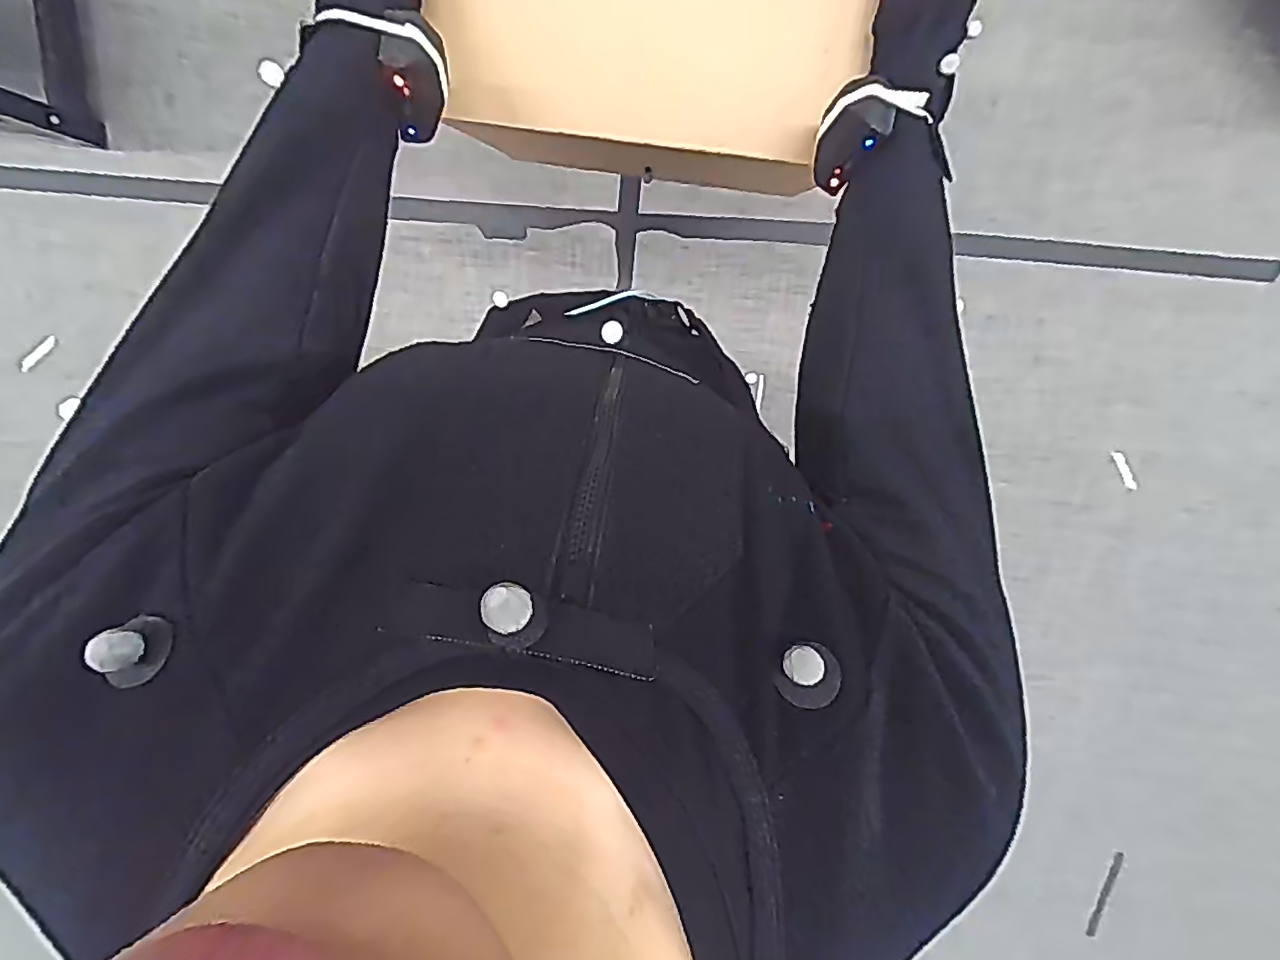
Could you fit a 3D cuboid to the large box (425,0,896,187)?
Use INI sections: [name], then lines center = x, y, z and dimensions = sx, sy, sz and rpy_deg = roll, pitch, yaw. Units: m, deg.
[large box]
center = 0.028, -0.510, 0.571
dimensions = 0.408, 0.320, 0.320
rpy_deg = 7, 113, 0
